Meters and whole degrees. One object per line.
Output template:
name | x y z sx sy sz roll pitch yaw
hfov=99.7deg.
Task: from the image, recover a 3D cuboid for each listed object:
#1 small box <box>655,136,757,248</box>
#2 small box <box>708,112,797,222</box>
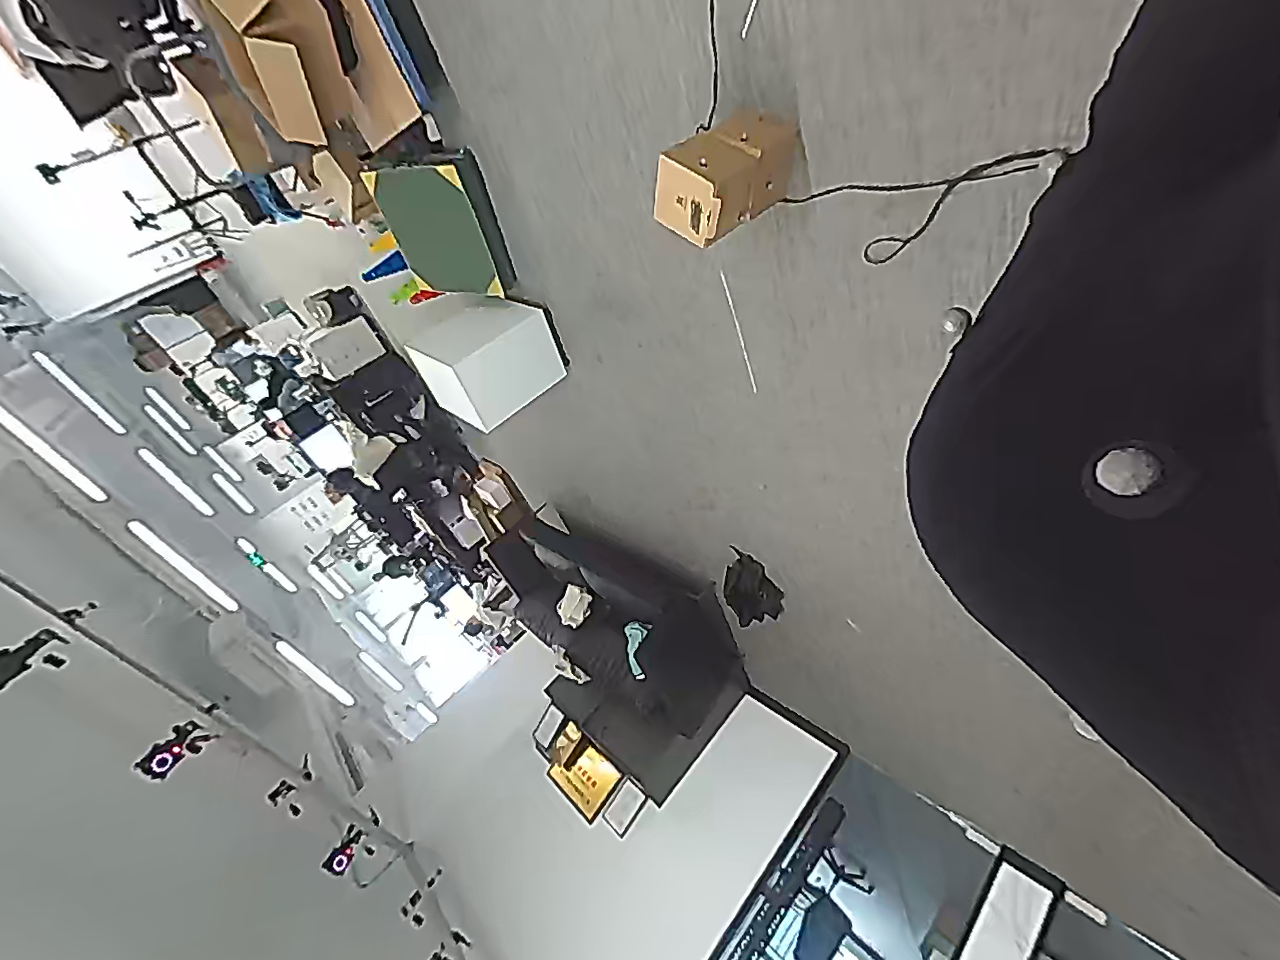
small box | 0.163 -0.718 1.340 0.179 0.176 0.168 41 153 19
small box | 0.283 -0.813 1.402 0.168 0.176 0.179 37 153 23
